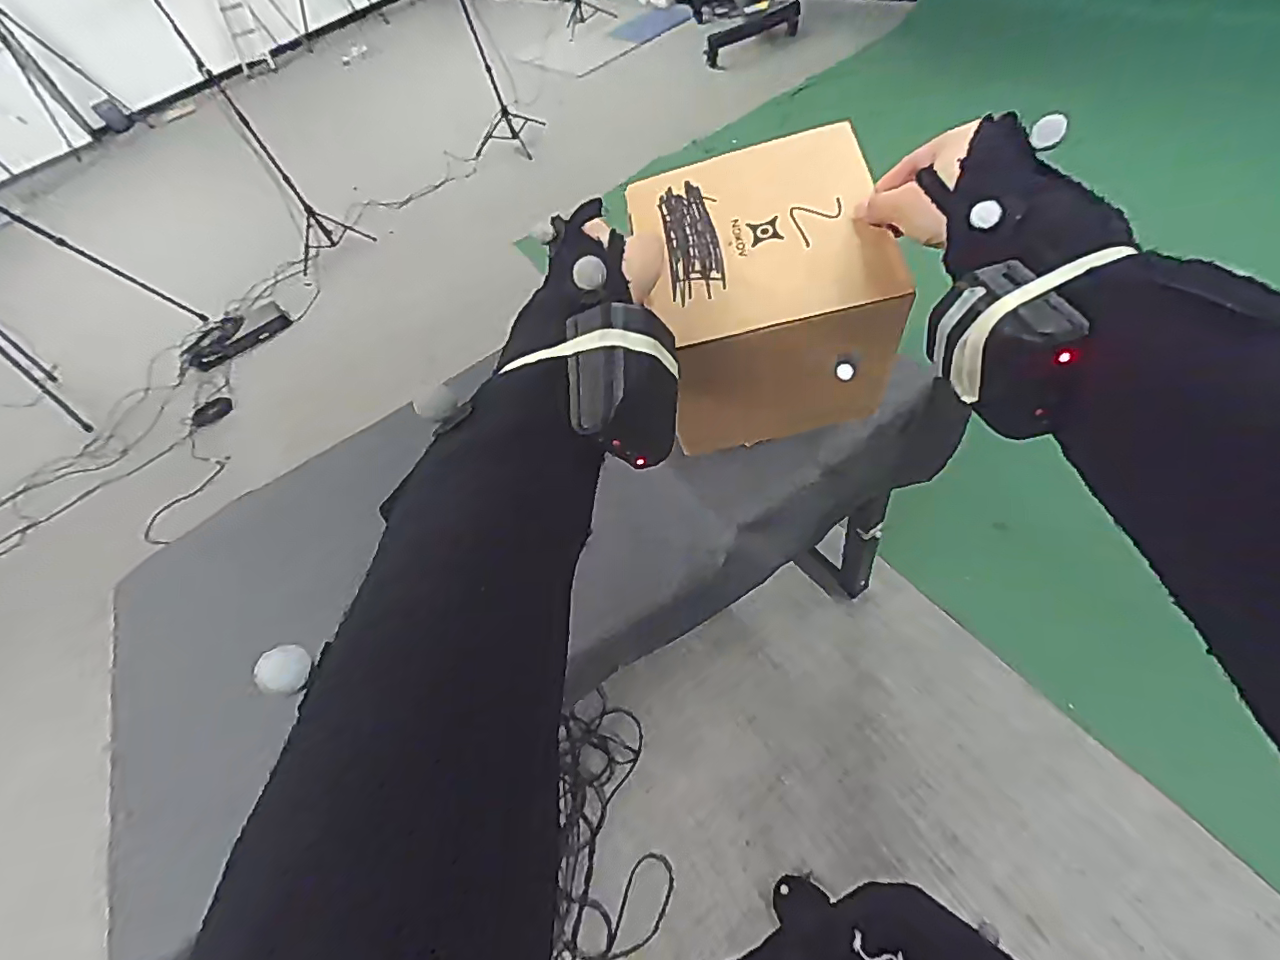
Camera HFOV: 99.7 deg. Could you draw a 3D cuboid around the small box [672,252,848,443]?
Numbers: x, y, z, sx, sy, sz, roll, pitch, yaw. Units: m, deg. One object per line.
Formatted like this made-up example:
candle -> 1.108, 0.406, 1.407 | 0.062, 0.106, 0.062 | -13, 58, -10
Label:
small box -> 0.171, -0.185, 0.775 | 0.179, 0.176, 0.168 | -30, 53, -8
